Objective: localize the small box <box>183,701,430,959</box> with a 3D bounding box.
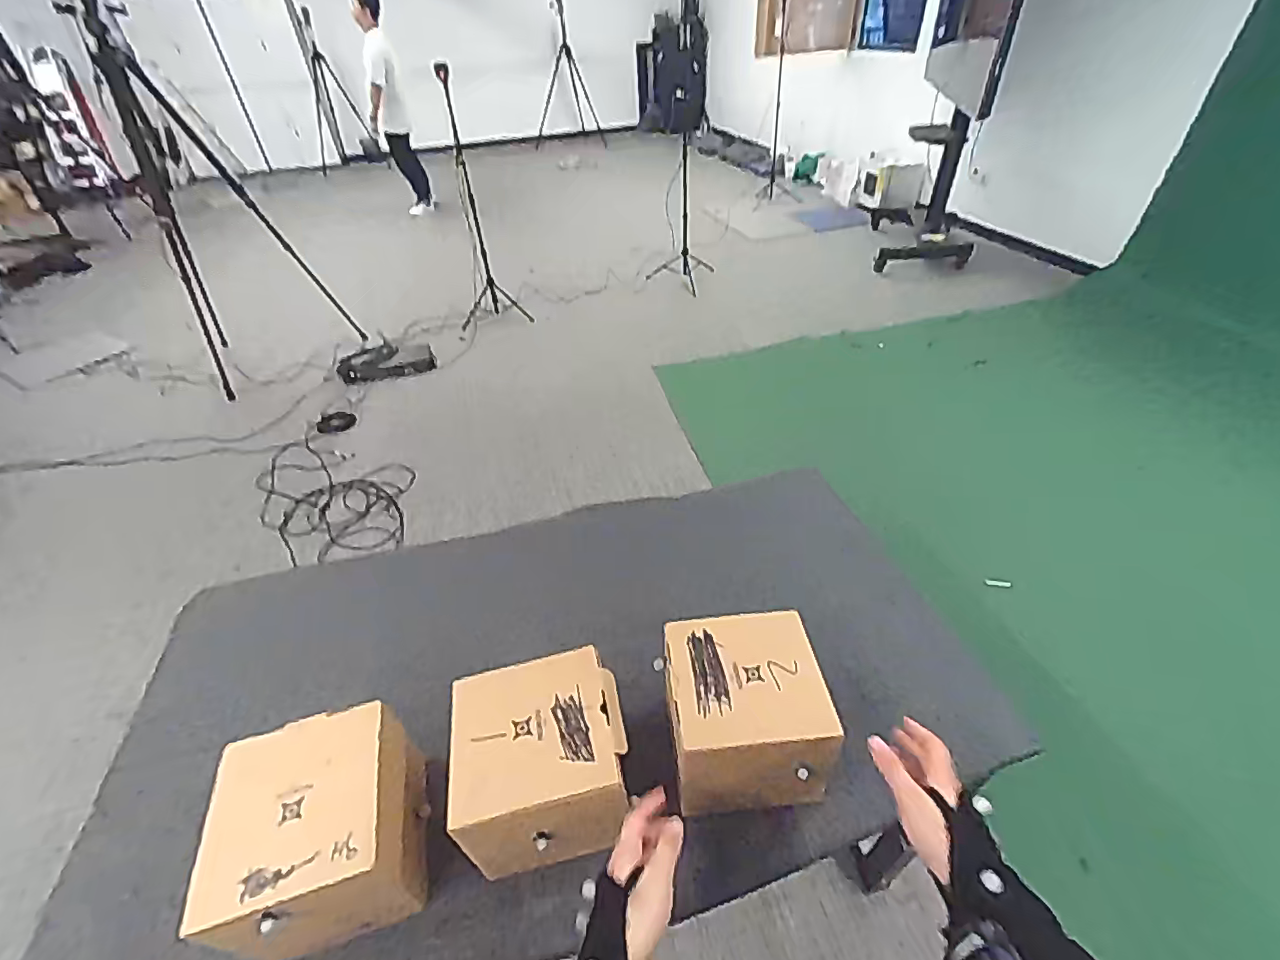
[{"bbox_3d":[-0.344,0.387,0.603,0.168,0.176,0.179,-14,42,-10],"label":"small box"}]
